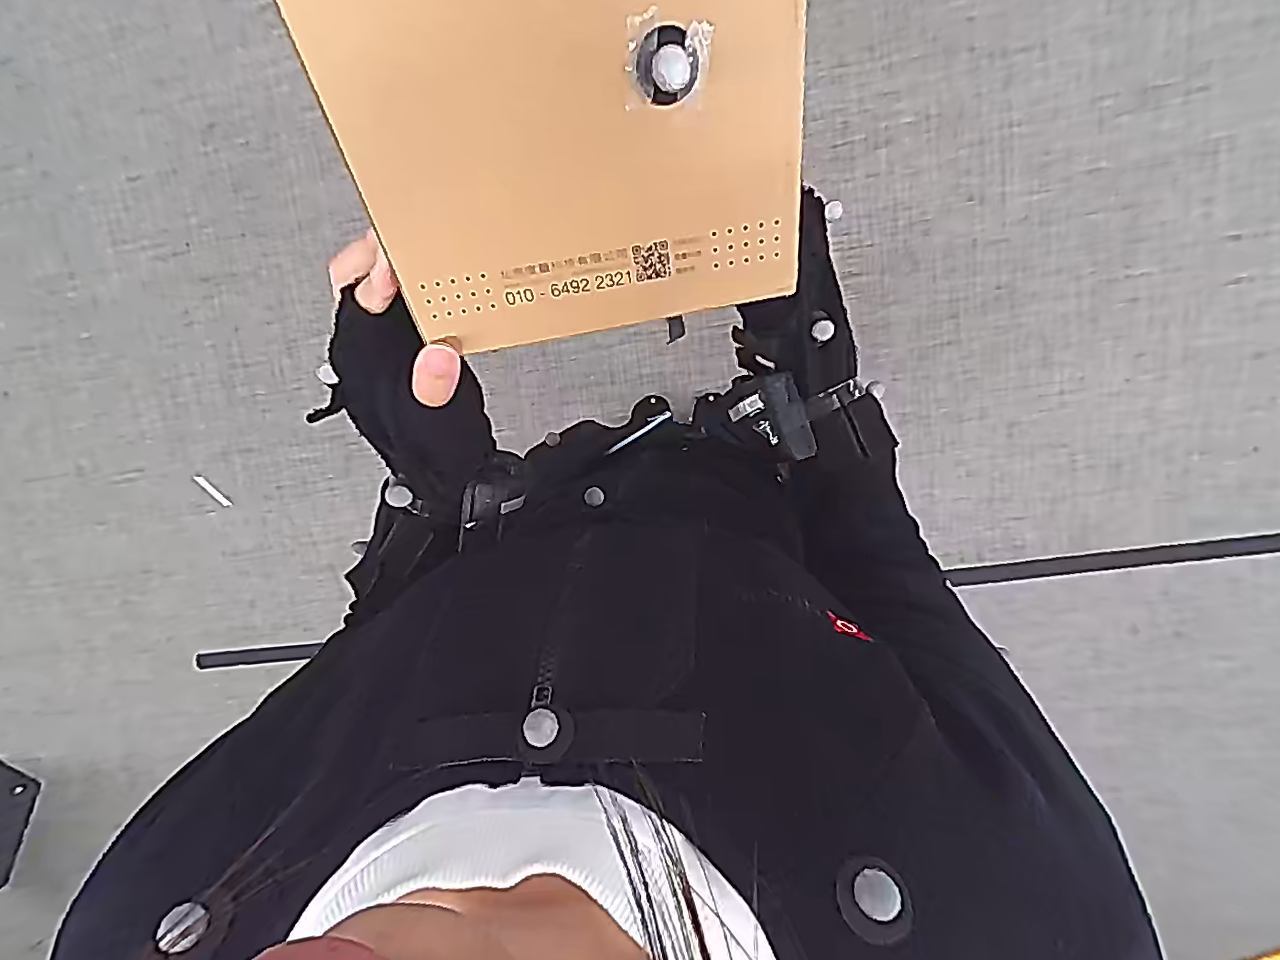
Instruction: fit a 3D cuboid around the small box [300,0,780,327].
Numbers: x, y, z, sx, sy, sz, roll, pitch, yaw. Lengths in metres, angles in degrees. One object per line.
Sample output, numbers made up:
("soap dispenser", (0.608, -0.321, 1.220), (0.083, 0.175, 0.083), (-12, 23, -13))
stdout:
("small box", (-0.029, -0.188, 0.271), (0.168, 0.179, 0.176), (-9, 130, 3))
